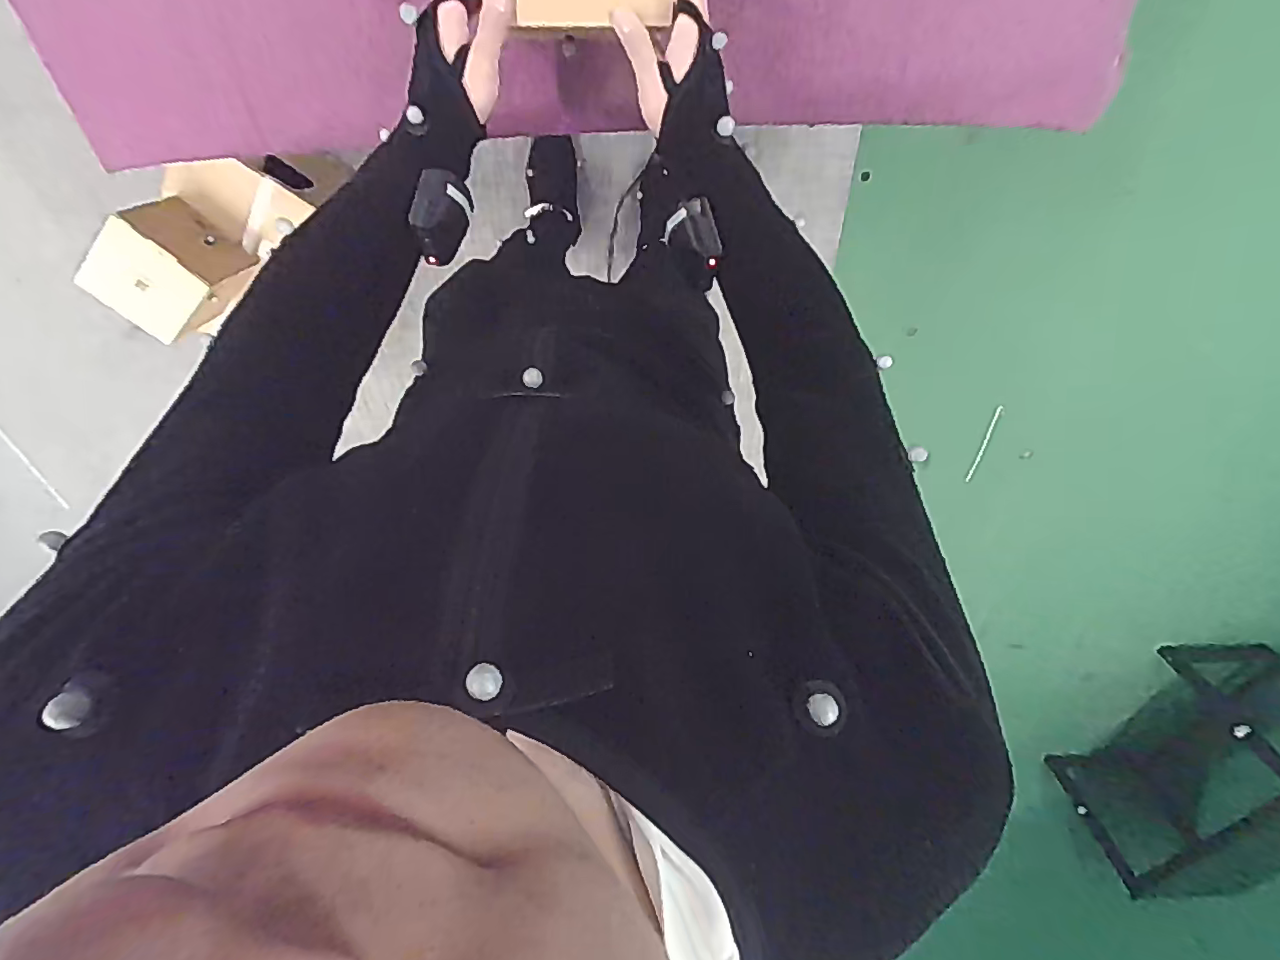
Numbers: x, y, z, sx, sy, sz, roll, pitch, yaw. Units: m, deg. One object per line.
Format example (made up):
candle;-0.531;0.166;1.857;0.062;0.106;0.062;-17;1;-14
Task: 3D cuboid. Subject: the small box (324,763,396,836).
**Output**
small box;-1.060;1.219;2.063;0.168;0.176;0.179;32;117;-24

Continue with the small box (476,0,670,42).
small box;-0.058;-0.506;0.477;0.168;0.176;0.179;-1;127;-2

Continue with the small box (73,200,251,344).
small box;-0.900;-0.401;1.036;0.179;0.176;0.168;-36;120;21
